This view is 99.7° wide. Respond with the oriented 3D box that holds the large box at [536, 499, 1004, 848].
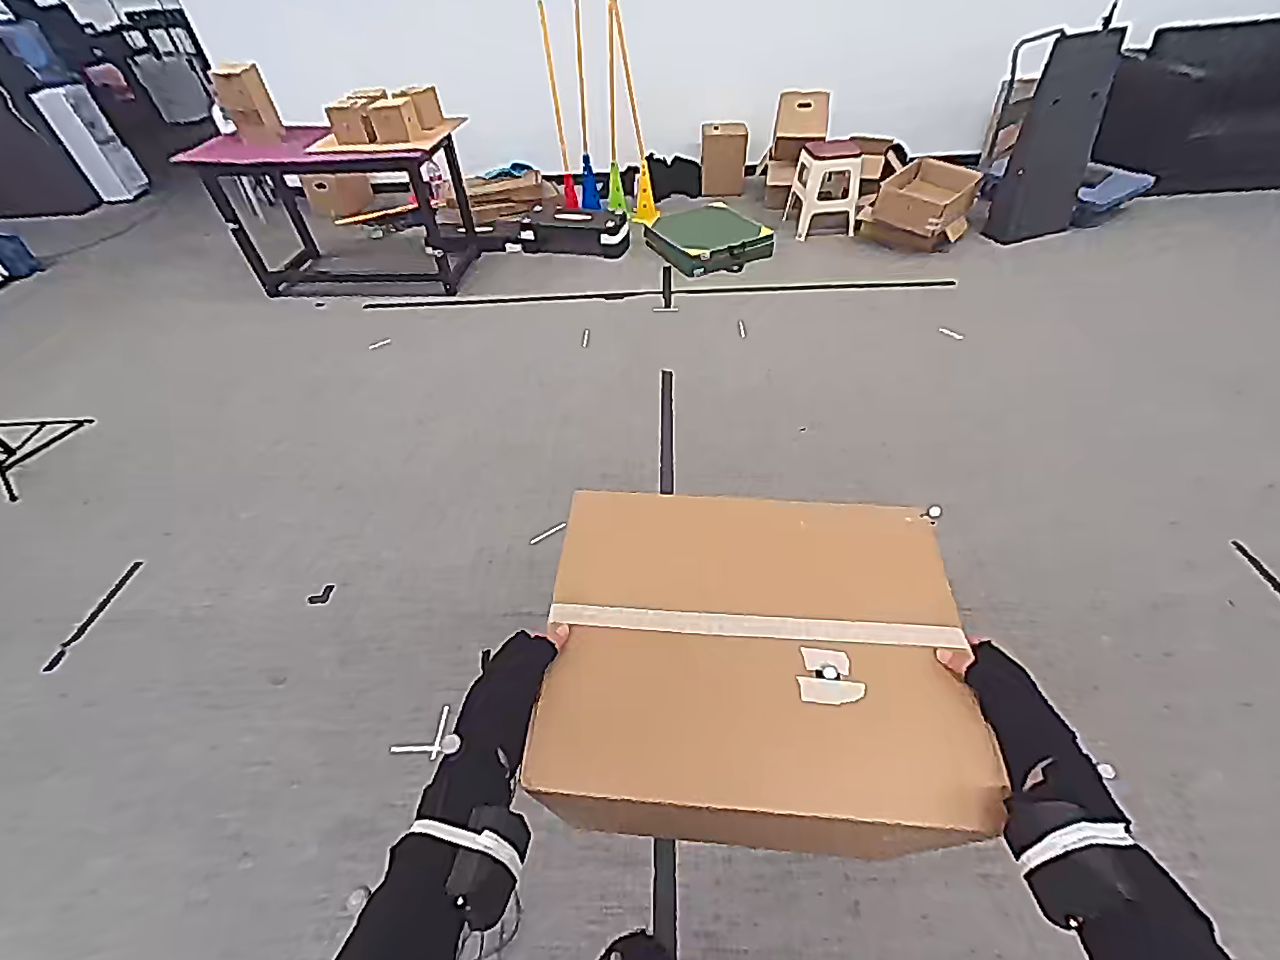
[{"bbox_3d":[0.117,0.242,0.663,0.408,0.320,0.320,3,54,4],"label":"large box"}]
